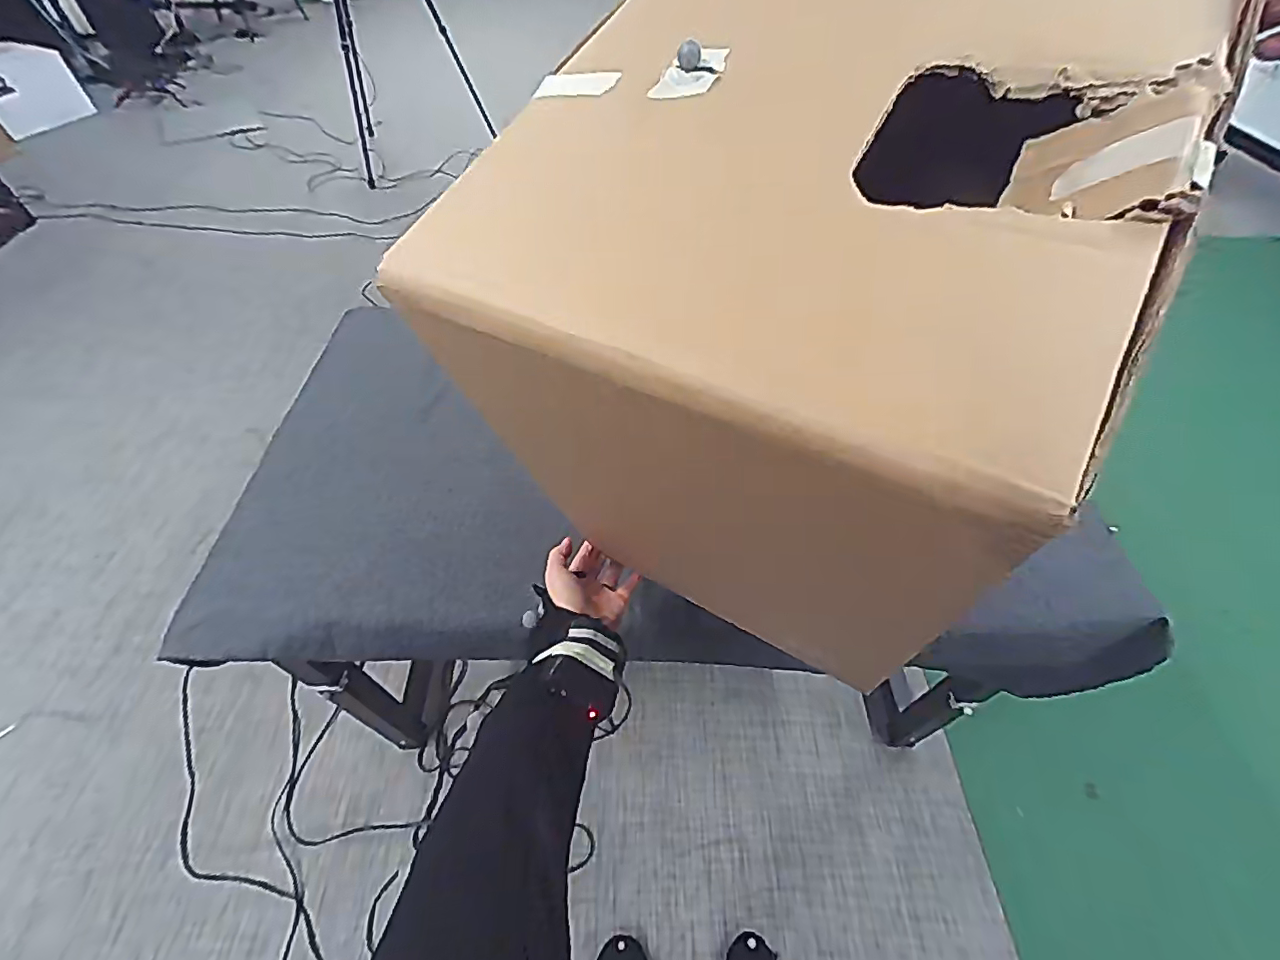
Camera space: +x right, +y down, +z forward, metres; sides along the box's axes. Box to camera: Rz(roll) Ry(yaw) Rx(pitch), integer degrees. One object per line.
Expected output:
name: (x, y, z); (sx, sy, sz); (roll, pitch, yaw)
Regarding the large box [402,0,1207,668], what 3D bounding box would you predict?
large box: (0.109, -0.086, 0.439); (0.320, 0.408, 0.320); (25, 72, 23)
